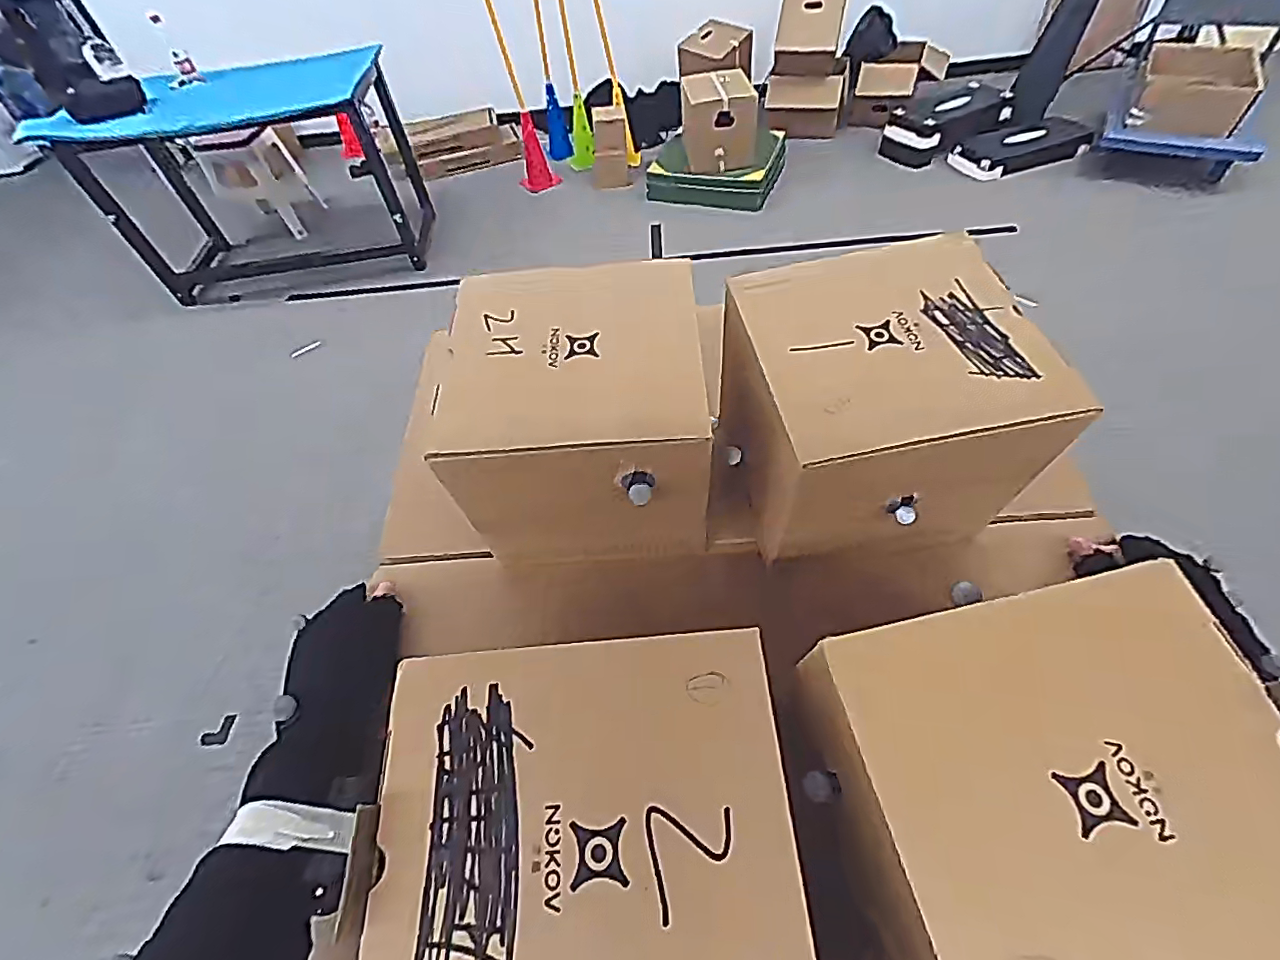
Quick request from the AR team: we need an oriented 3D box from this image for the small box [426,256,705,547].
[{"bbox_3d":[-0.042,-0.054,0.440,0.179,0.176,0.168,-3,58,4],"label":"small box"}]
